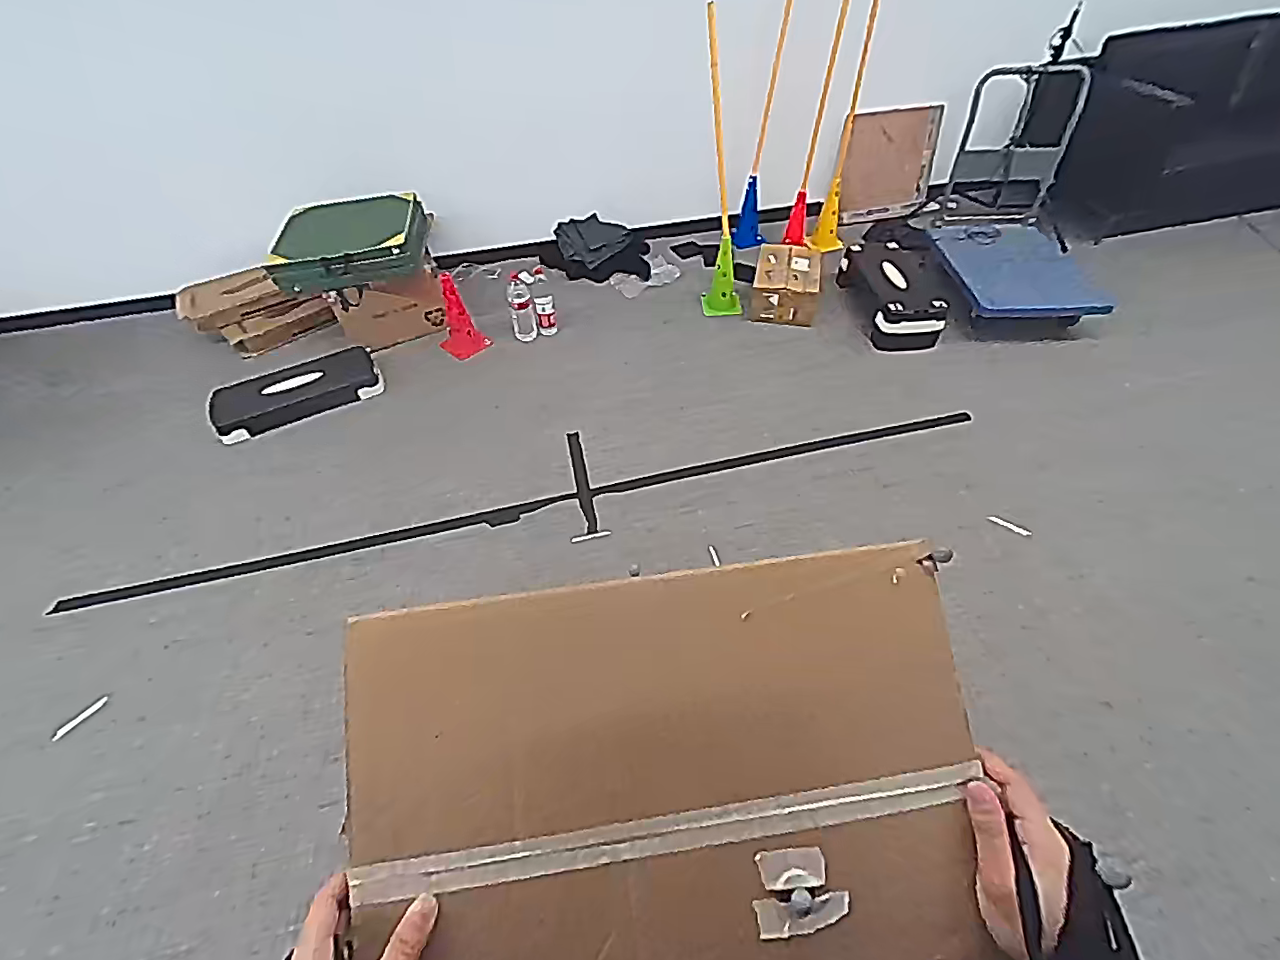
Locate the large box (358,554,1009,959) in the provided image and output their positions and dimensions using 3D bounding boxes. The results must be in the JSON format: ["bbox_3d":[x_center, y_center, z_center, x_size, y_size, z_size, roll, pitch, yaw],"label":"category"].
[{"bbox_3d":[0.016,0.260,0.498,0.408,0.320,0.320,-7,80,-5],"label":"large box"}]
